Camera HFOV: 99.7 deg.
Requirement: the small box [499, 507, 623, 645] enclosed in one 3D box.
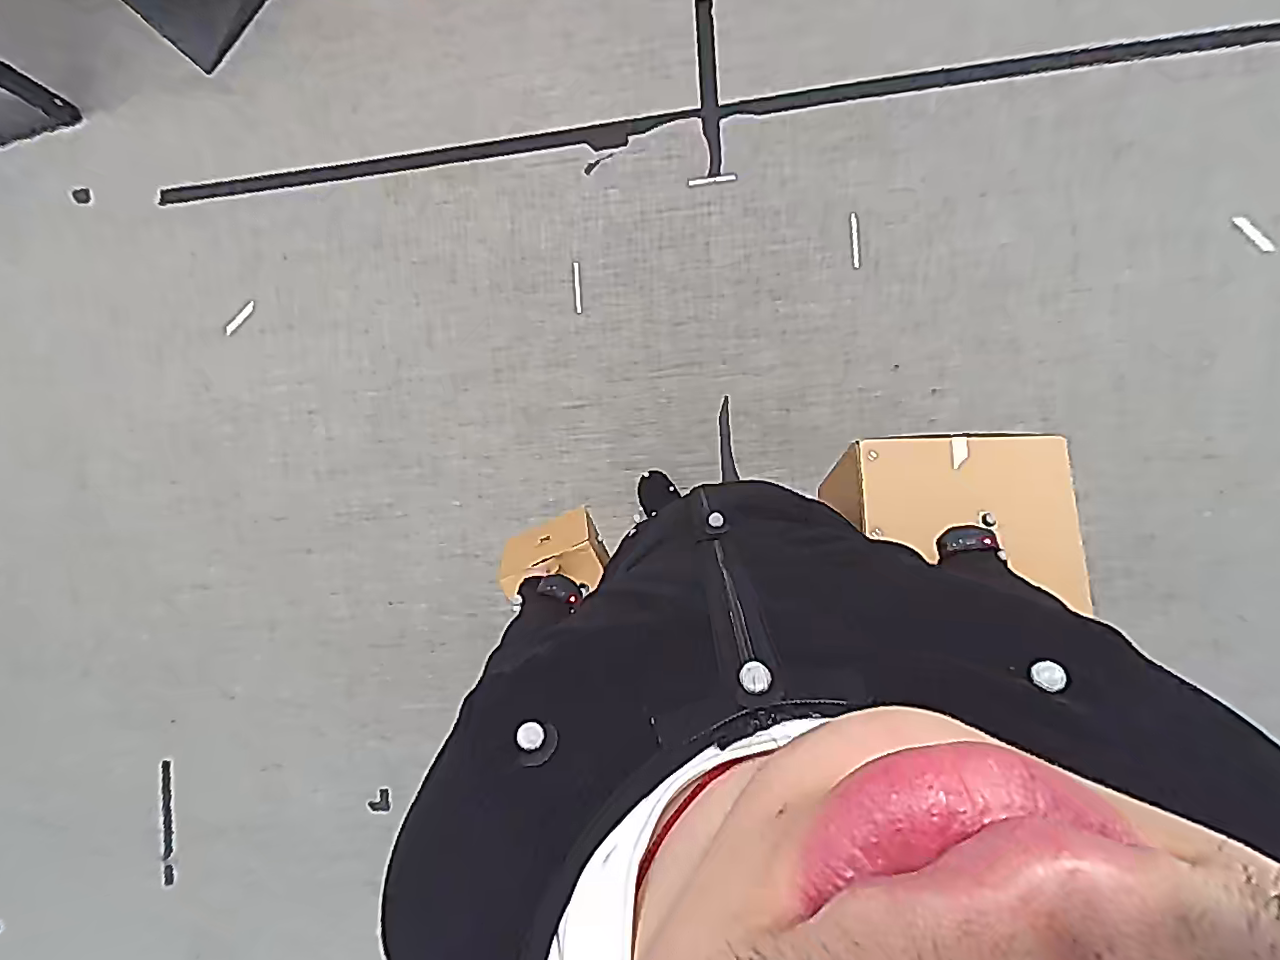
[{"bbox_3d":[-0.140,0.180,0.998,0.168,0.179,0.176,-24,108,0],"label":"small box"}]
